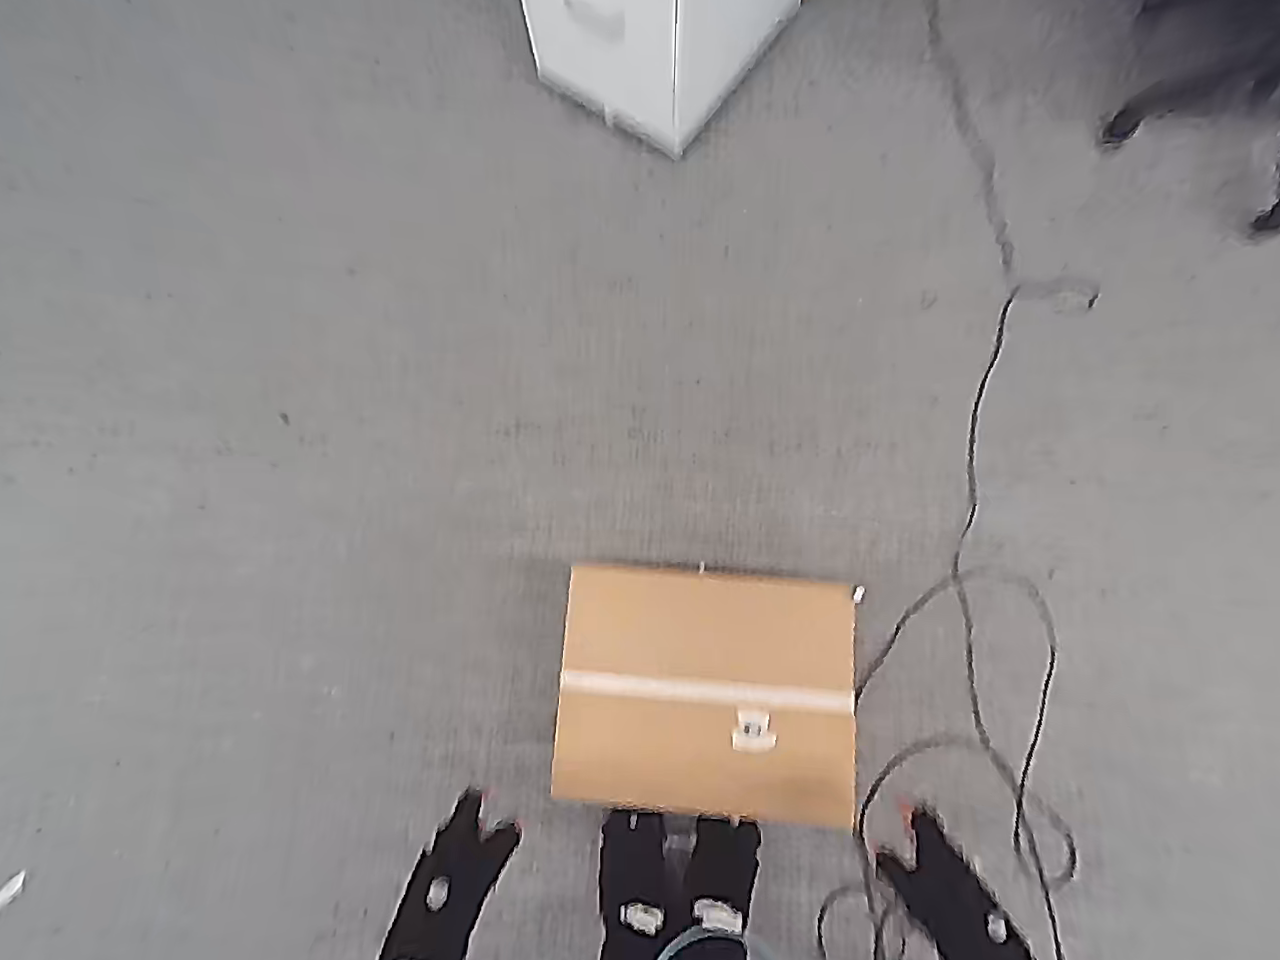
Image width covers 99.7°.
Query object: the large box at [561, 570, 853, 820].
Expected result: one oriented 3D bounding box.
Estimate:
[{"bbox_3d":[0.099,0.327,0.905,0.408,0.320,0.320,4,79,3],"label":"large box"}]
